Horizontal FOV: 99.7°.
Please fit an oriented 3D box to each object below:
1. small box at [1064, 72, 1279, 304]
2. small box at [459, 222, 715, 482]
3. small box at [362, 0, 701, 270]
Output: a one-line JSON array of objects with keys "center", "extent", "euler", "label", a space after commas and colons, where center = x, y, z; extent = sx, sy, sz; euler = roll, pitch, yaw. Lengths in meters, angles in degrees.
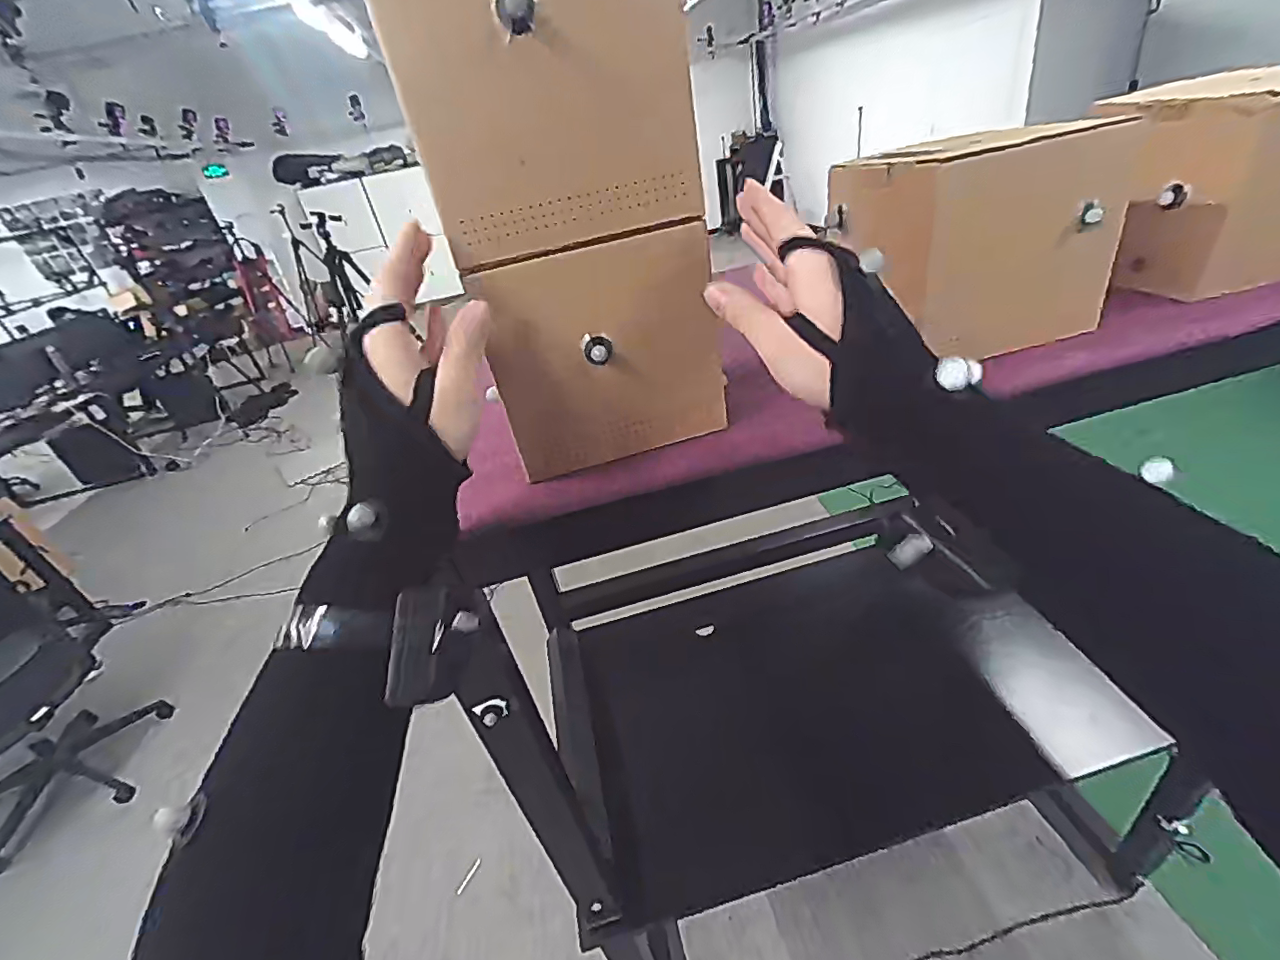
[{"center": [0.563, -0.285, 0.529], "extent": [0.179, 0.176, 0.168], "euler": [-14, 33, -3], "label": "small box"}, {"center": [-0.041, -0.122, 0.472], "extent": [0.179, 0.176, 0.168], "euler": [-16, 31, -7], "label": "small box"}, {"center": [-0.069, -0.261, 0.389], "extent": [0.179, 0.176, 0.168], "euler": [-15, 32, -5], "label": "small box"}]
